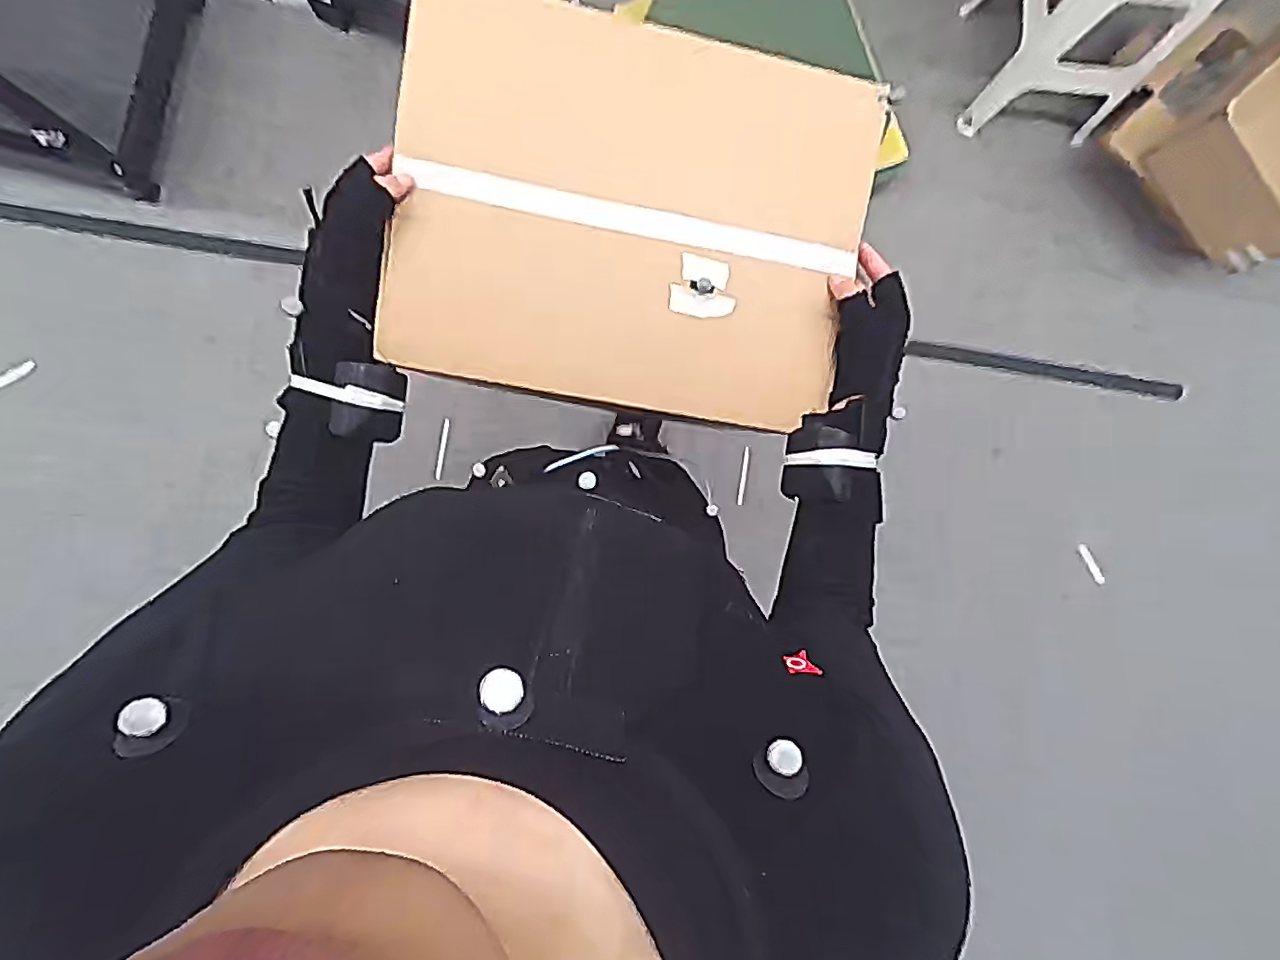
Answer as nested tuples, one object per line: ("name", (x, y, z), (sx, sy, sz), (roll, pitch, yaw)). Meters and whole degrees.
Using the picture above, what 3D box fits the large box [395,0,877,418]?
("large box", (-0.018, -0.251, 0.625), (0.408, 0.320, 0.320), (8, 97, -8))
